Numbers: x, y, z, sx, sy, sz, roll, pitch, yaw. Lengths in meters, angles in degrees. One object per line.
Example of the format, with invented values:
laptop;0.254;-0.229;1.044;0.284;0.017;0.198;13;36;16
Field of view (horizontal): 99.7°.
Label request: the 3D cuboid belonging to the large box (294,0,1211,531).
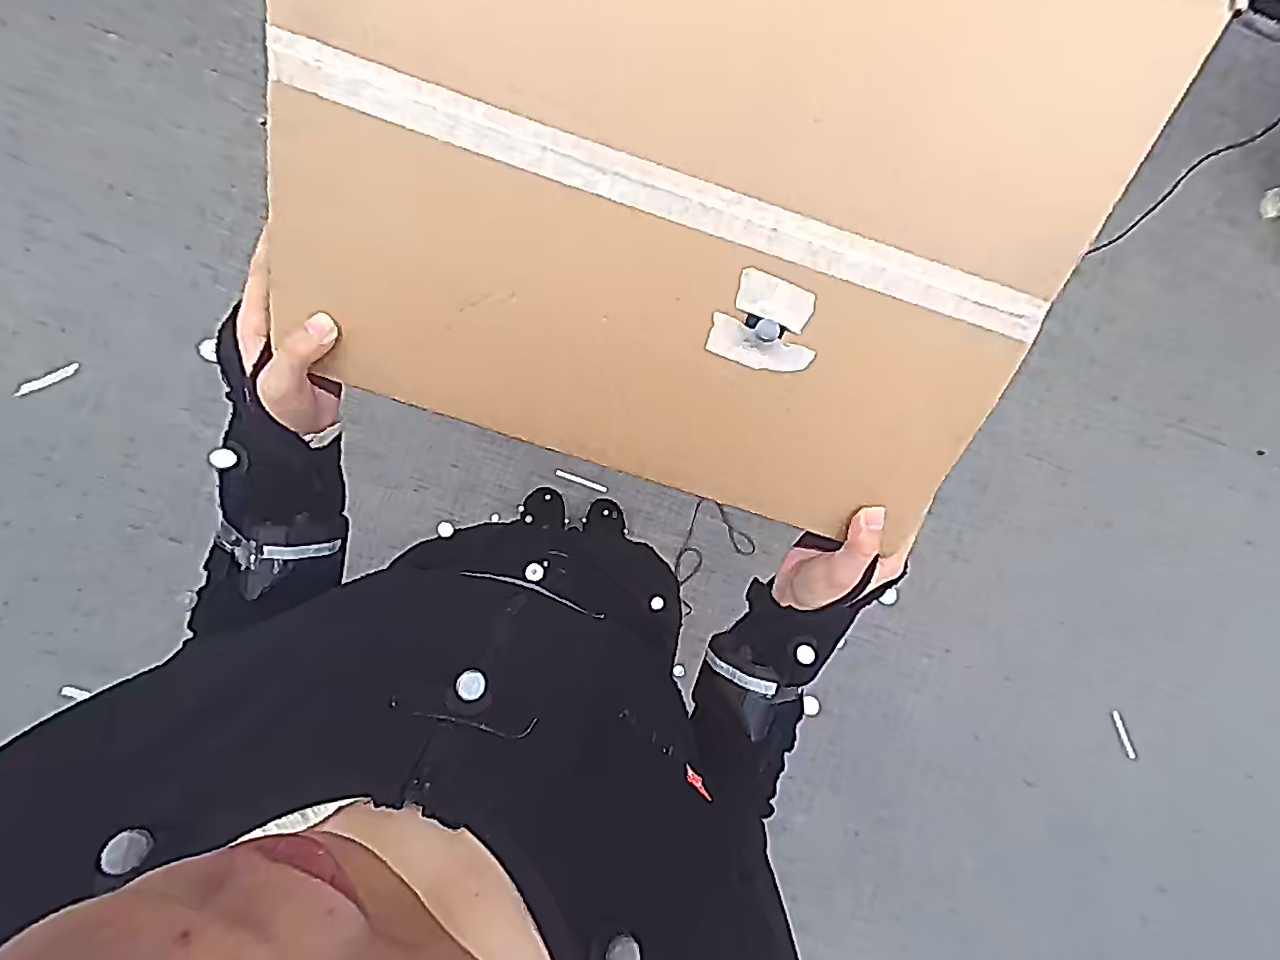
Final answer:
large box;0.029;-0.212;0.414;0.408;0.320;0.320;17;116;-5
